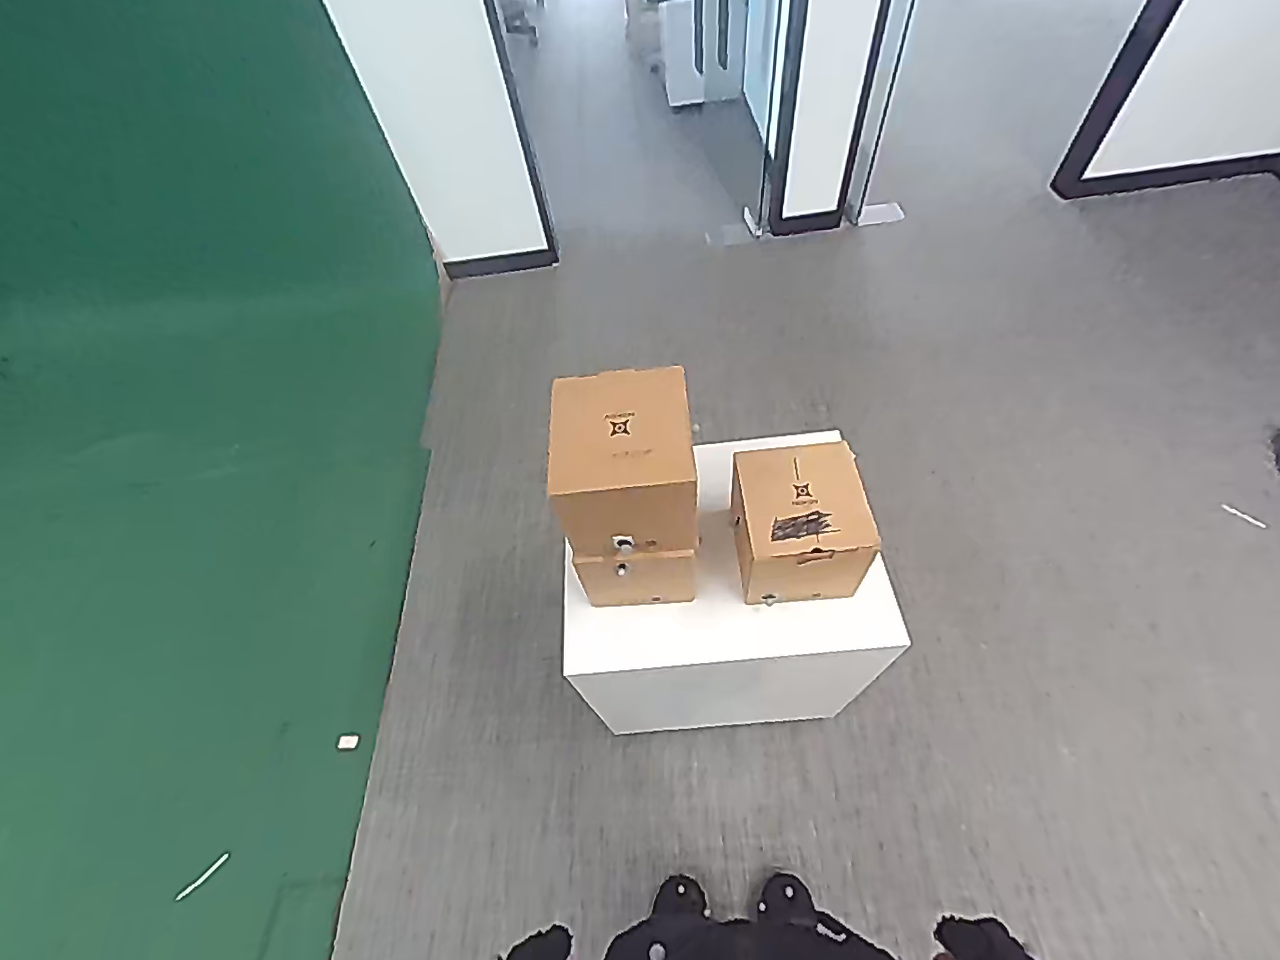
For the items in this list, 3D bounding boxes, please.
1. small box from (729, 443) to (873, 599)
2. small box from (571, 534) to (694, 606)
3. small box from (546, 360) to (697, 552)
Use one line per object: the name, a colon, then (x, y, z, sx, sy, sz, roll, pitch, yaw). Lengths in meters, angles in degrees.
small box: (0.227, 0.070, 0.813, 0.168, 0.176, 0.179, -5, 55, 4)
small box: (-0.005, 0.079, 0.835, 0.168, 0.176, 0.179, -5, 55, 5)
small box: (-0.018, -0.027, 0.692, 0.168, 0.176, 0.179, -6, 57, 3)
